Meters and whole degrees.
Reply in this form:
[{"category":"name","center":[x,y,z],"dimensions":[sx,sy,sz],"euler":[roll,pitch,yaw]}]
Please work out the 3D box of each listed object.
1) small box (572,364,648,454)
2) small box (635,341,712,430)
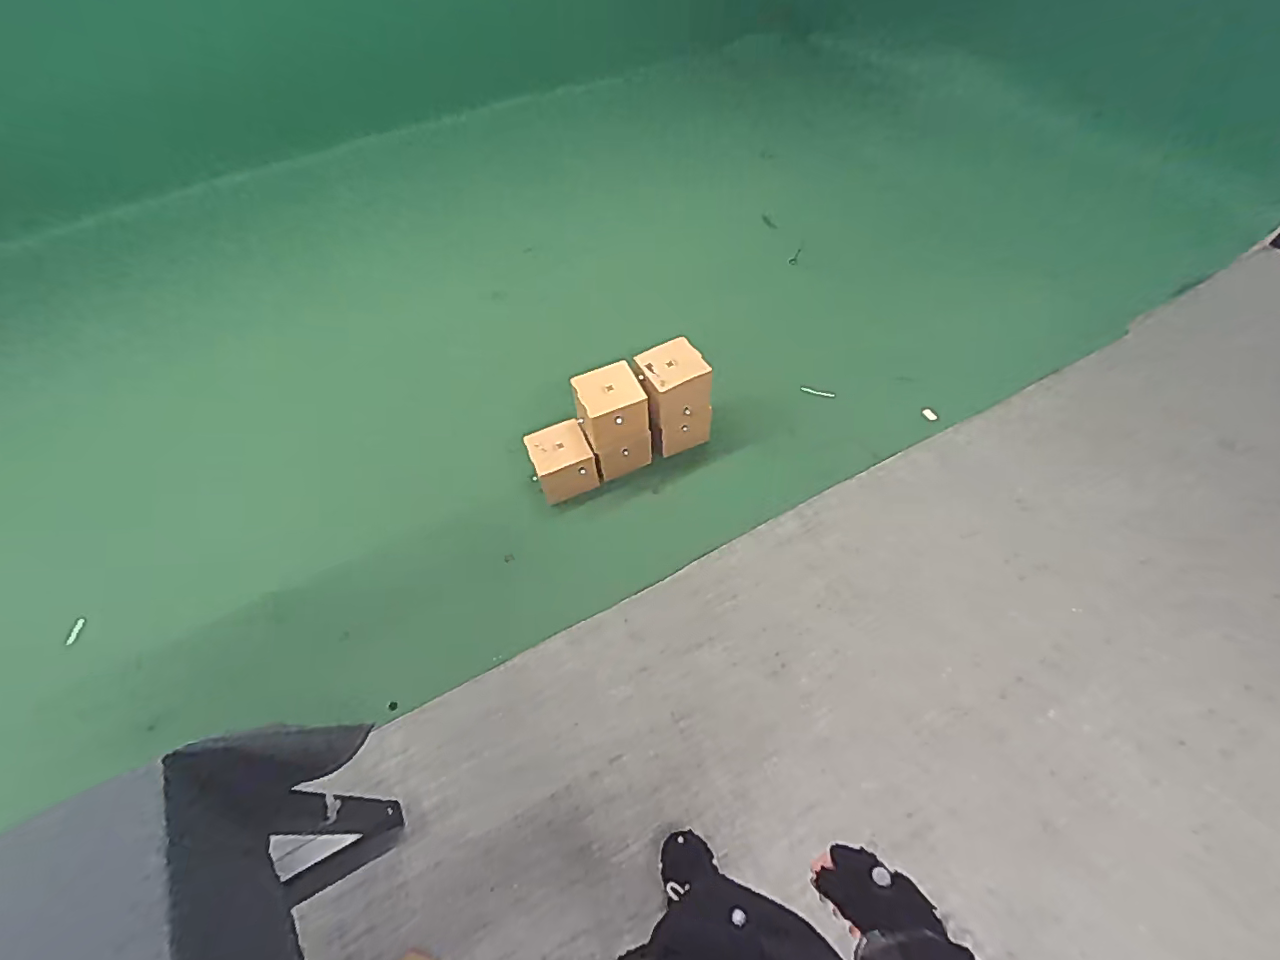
[{"category":"small box","center":[-0.085,-0.207,1.604],"dimensions":[0.179,0.176,0.168],"euler":[-22,59,-9]},{"category":"small box","center":[0.097,-0.284,1.643],"dimensions":[0.179,0.176,0.168],"euler":[-25,58,-14]}]
